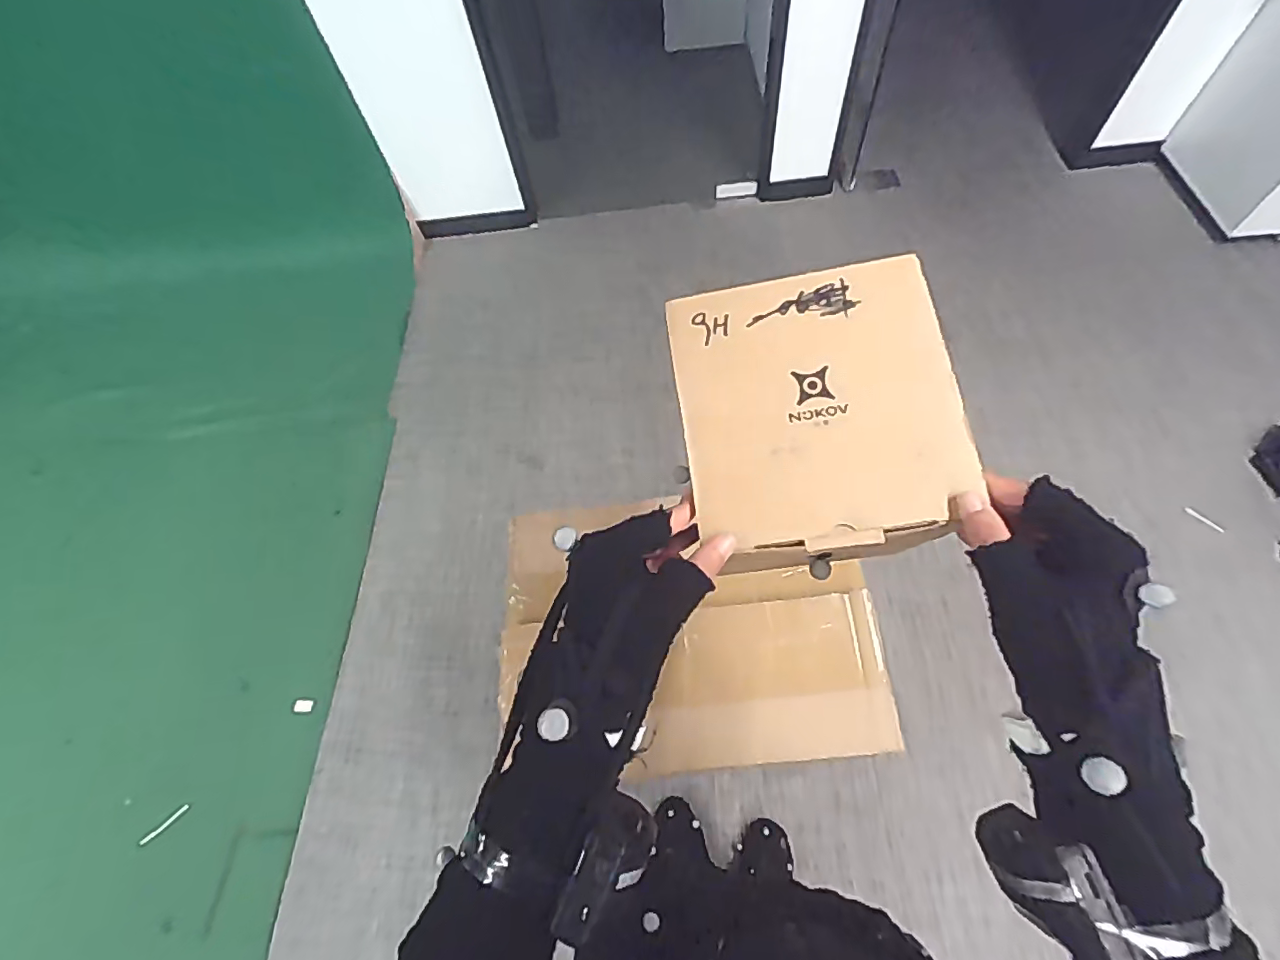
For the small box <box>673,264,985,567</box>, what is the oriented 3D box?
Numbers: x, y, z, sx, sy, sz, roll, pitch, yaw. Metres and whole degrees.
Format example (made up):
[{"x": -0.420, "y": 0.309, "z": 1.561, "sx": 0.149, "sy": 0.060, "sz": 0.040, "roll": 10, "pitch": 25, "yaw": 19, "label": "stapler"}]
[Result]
[{"x": 0.123, "y": -0.029, "z": 0.418, "sx": 0.168, "sy": 0.176, "sz": 0.179, "roll": -9, "pitch": 76, "yaw": 6, "label": "small box"}]
